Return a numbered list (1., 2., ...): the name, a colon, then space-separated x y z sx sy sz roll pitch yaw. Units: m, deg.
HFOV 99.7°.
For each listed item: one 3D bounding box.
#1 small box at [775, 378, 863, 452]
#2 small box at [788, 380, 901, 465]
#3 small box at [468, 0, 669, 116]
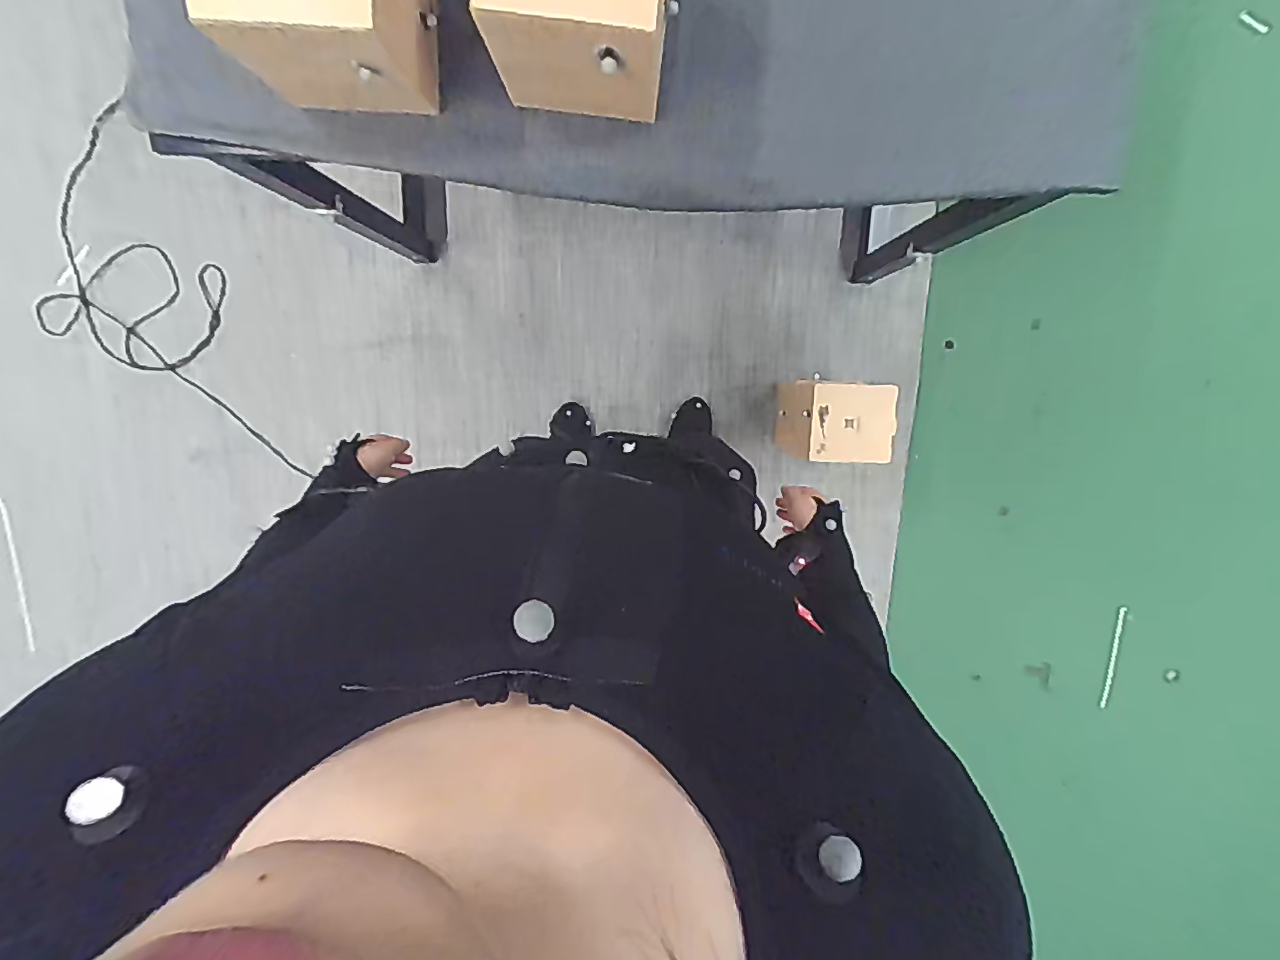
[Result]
1. small box: 0.442 -0.165 1.359 0.168 0.176 0.179 1 100 1
2. small box: 0.443 -0.132 1.197 0.179 0.176 0.168 3 102 0
3. small box: -0.059 -0.512 0.561 0.179 0.176 0.168 8 99 1
